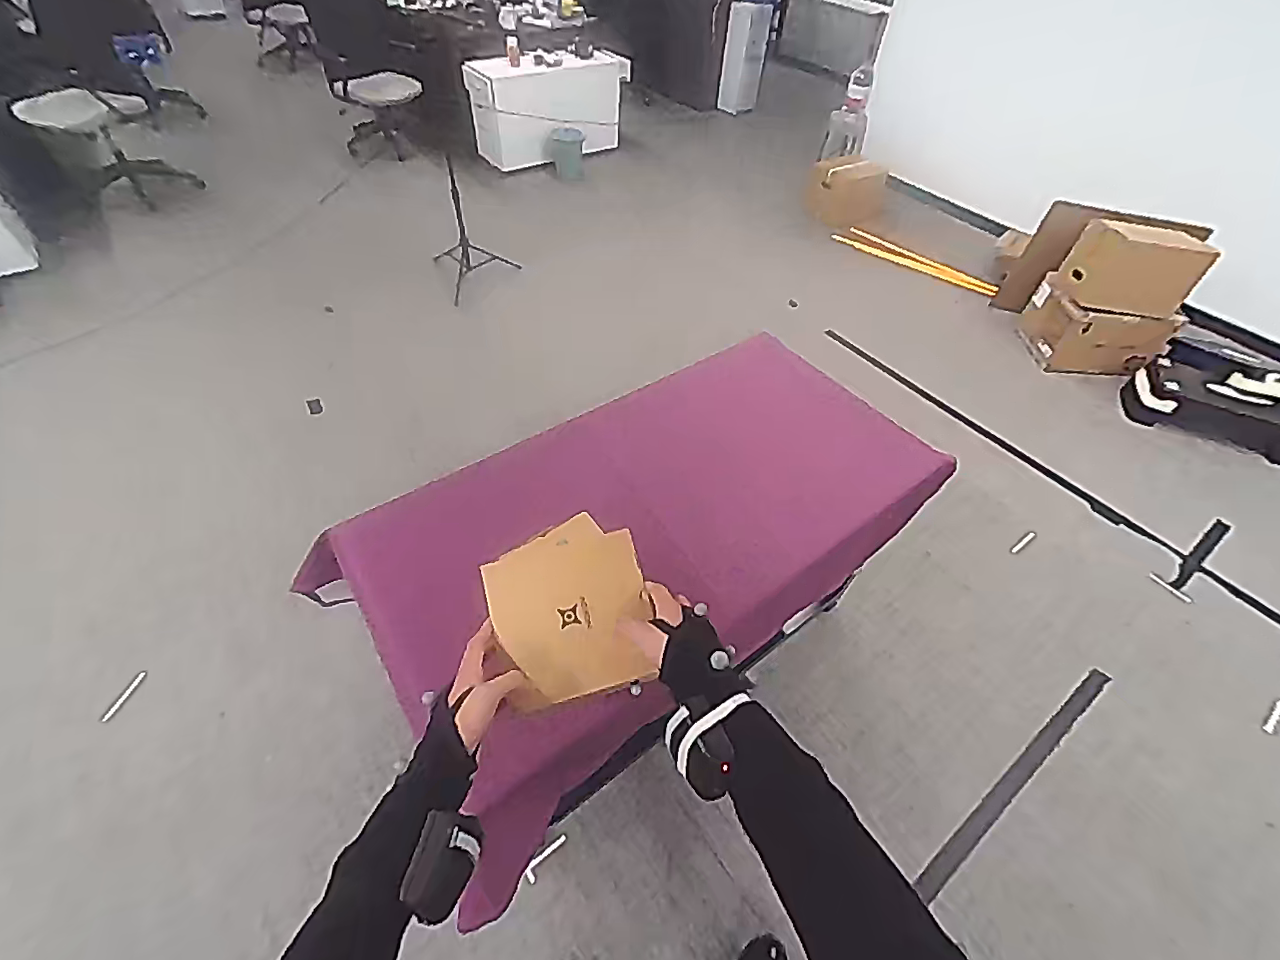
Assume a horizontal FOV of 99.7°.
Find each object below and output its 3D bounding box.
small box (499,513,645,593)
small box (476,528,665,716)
[{"bbox_3d":[-0.110,0.193,0.887,0.168,0.176,0.179,-28,57,-23],"label":"small box"},{"bbox_3d":[-0.083,0.179,0.656,0.179,0.176,0.168,-14,69,-12],"label":"small box"}]
